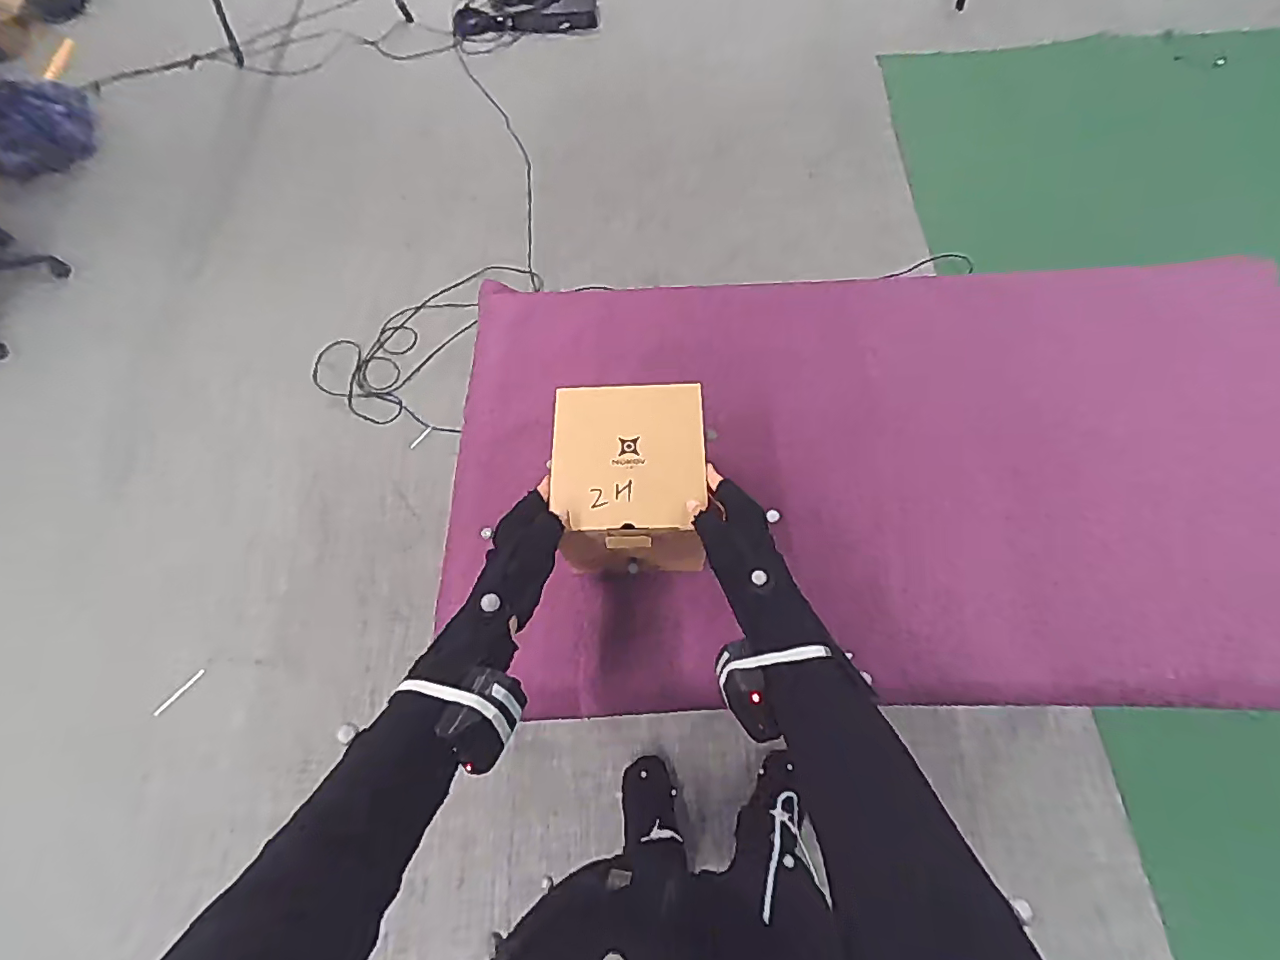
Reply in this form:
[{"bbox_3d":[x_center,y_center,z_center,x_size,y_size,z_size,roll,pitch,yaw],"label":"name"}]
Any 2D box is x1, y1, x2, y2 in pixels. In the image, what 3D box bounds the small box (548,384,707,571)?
[{"bbox_3d":[-0.009,0.004,0.656,0.168,0.176,0.179,-2,66,3],"label":"small box"}]
